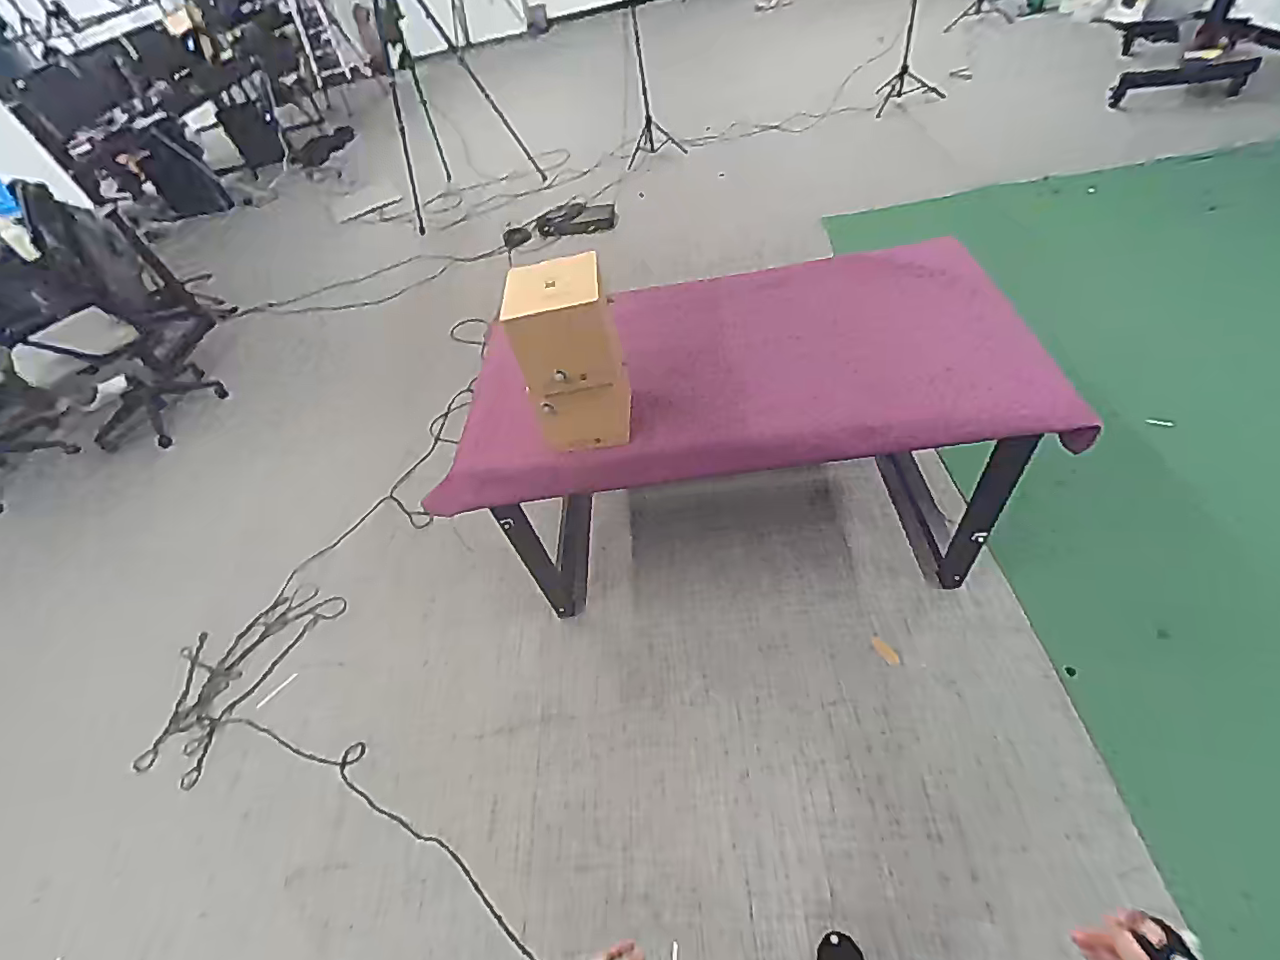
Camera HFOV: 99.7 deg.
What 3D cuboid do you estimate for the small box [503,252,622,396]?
[{"bbox_3d":[-0.129,-0.277,0.968,0.168,0.176,0.179,-9,48,5],"label":"small box"}]
